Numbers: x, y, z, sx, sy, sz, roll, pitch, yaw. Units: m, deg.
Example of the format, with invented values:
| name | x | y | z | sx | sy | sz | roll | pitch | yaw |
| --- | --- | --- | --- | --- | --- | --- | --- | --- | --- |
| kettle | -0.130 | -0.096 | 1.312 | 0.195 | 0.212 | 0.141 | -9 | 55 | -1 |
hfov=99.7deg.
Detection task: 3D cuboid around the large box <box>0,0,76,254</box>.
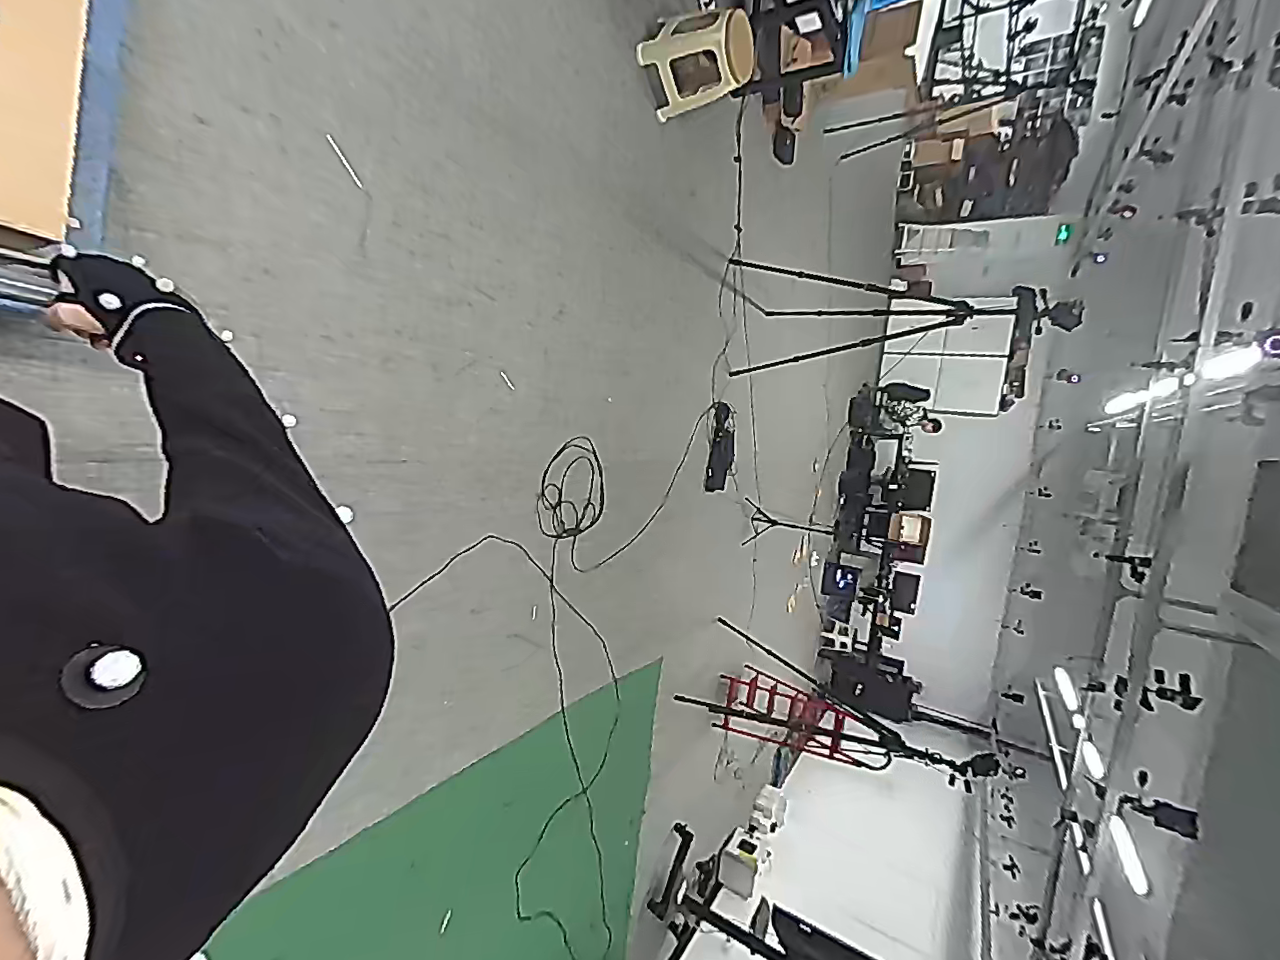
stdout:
| name | x | y | z | sx | sy | sz | roll | pitch | yaw |
| --- | --- | --- | --- | --- | --- | --- | --- | --- | --- |
| large box | -1.042 | -0.576 | 0.744 | 0.320 | 0.320 | 0.408 | 2 | 95 | -59 |
